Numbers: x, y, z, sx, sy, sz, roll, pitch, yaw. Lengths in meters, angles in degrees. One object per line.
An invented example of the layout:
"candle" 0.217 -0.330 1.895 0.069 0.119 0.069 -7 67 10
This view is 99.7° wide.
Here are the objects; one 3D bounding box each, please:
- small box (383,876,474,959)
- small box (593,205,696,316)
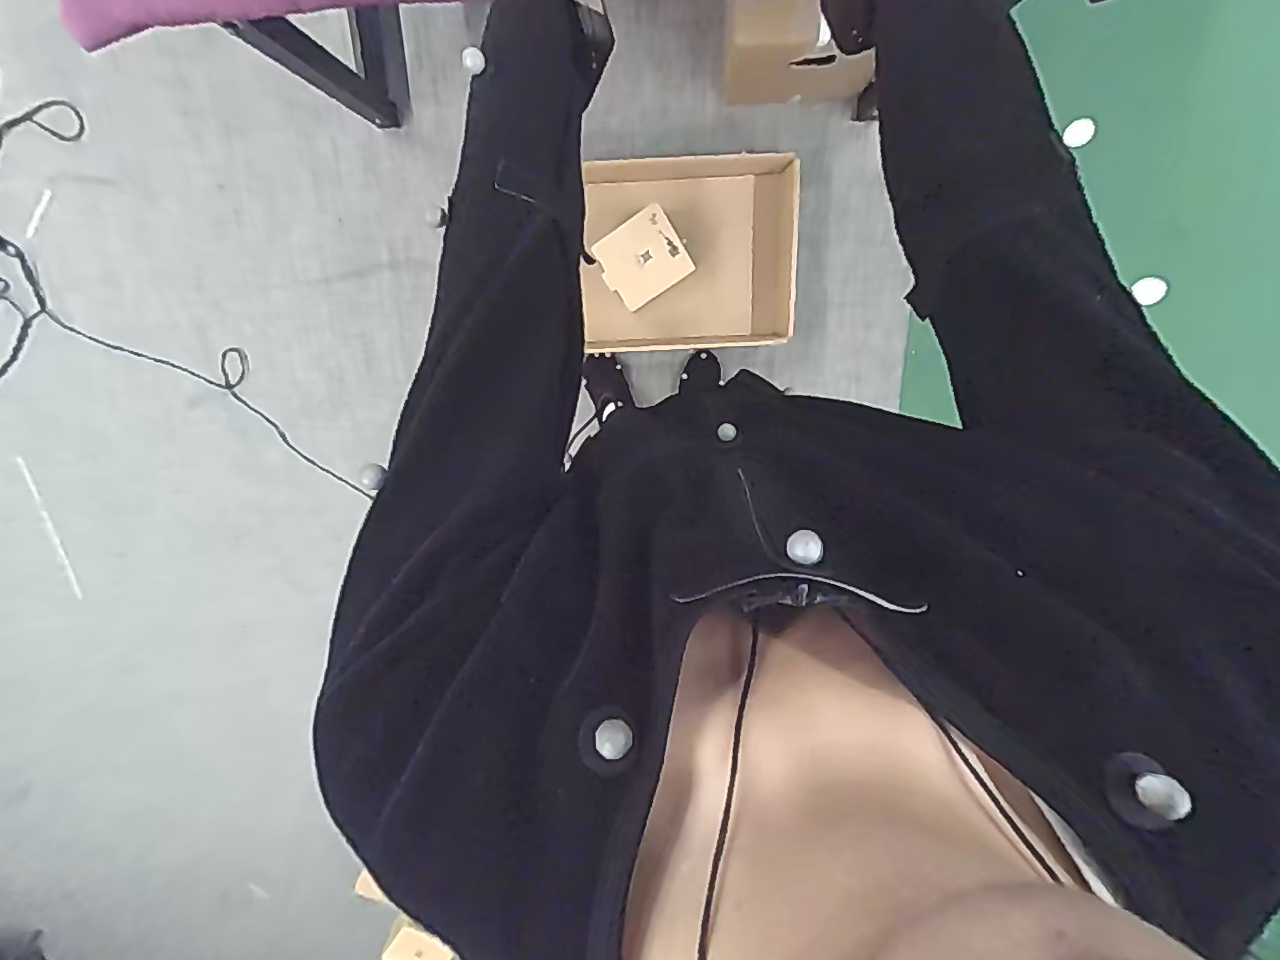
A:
"small box" -0.606 1.305 1.562 0.168 0.176 0.179 31 107 -7
"small box" 0.015 -0.496 1.249 0.179 0.176 0.168 -31 104 11
